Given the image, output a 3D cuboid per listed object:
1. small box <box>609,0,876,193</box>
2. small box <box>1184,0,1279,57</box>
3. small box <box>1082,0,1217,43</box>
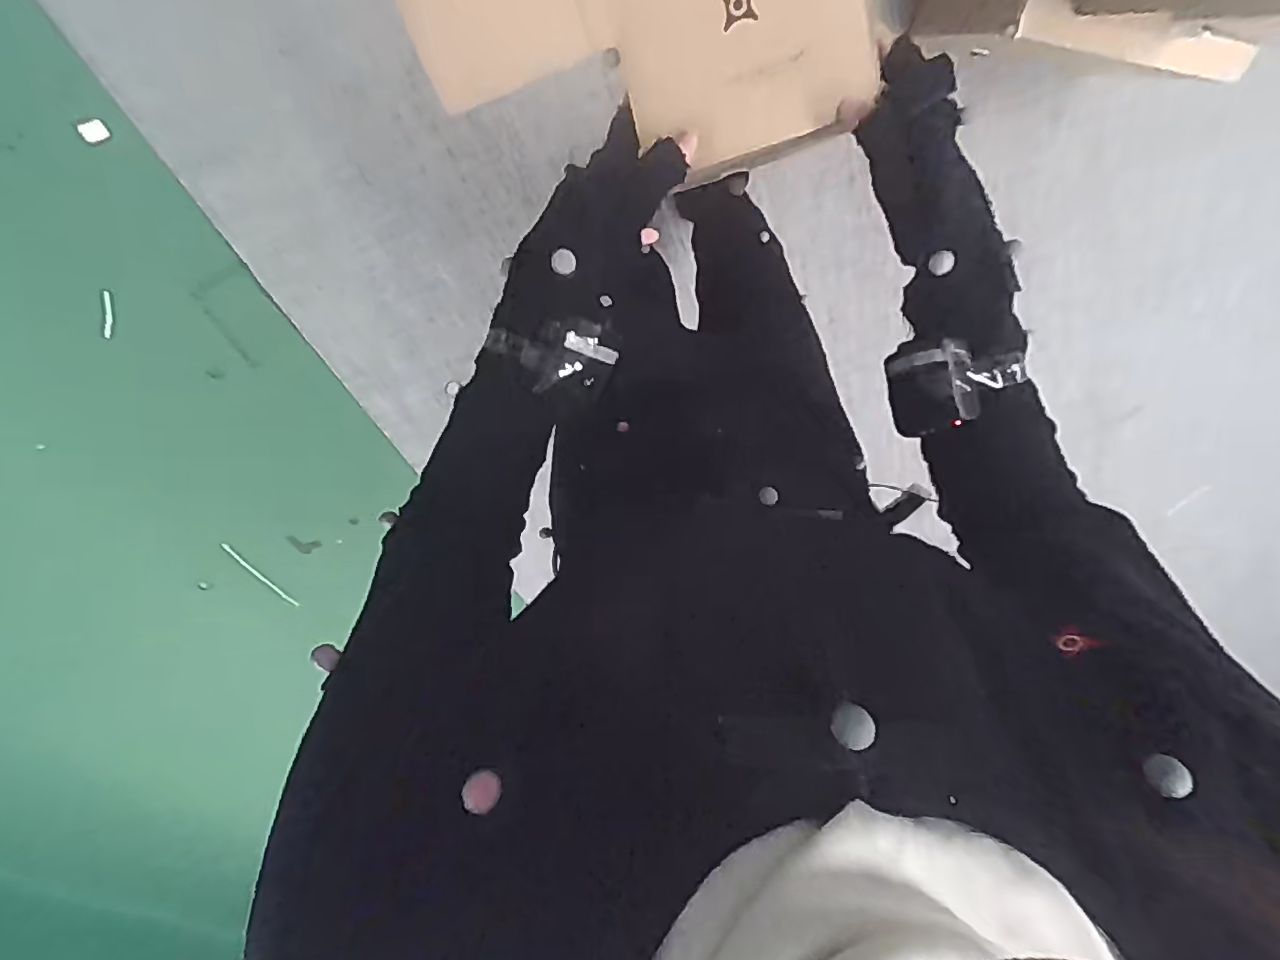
[{"bbox_3d":[0.071,-0.351,0.431,0.168,0.176,0.179,-13,112,13],"label":"small box"},{"bbox_3d":[0.721,-0.545,0.540,0.168,0.176,0.179,4,126,-10],"label":"small box"},{"bbox_3d":[0.714,-0.655,0.667,0.179,0.176,0.168,0,126,-7],"label":"small box"}]
